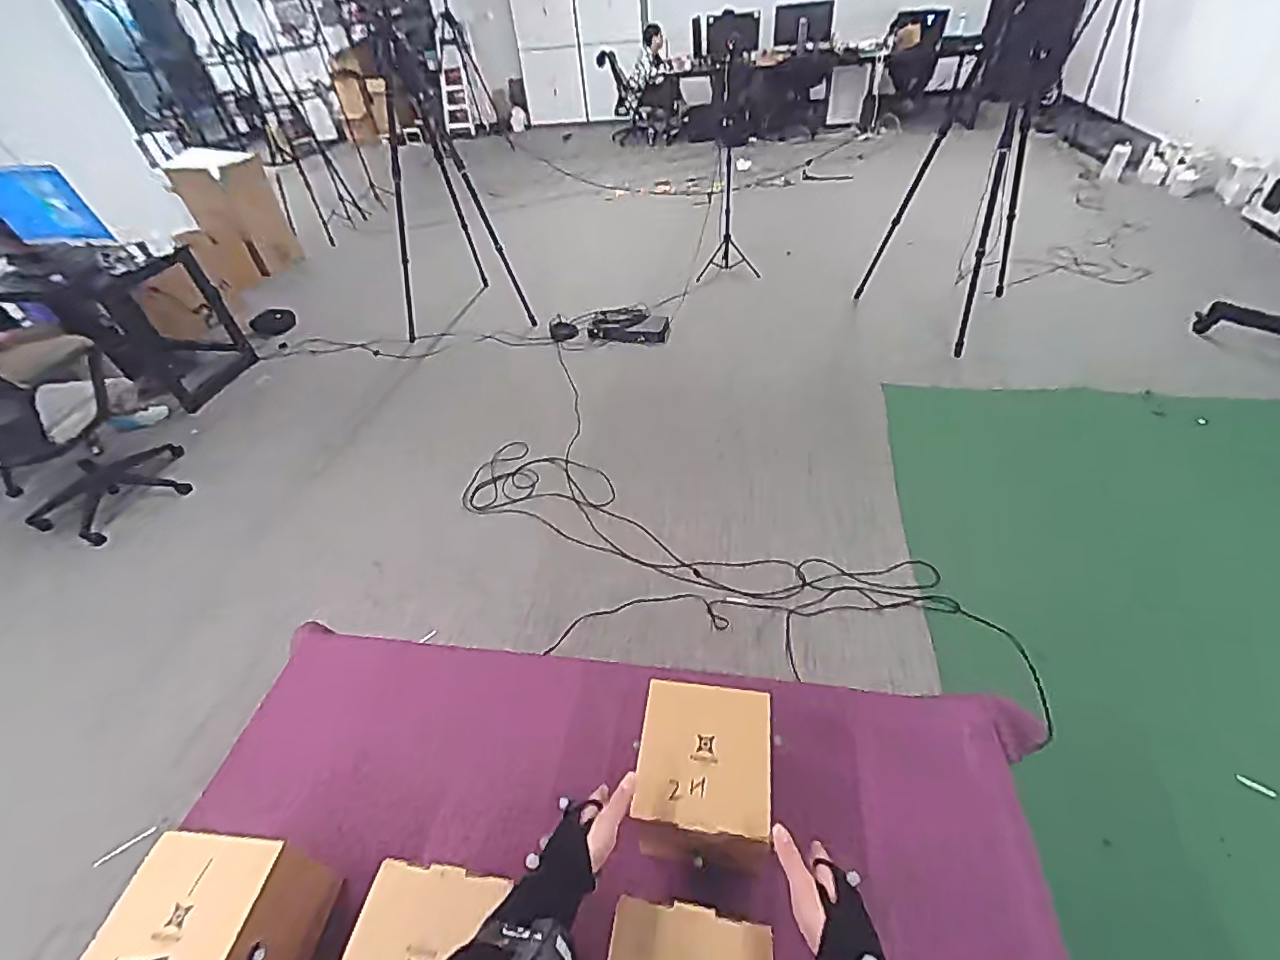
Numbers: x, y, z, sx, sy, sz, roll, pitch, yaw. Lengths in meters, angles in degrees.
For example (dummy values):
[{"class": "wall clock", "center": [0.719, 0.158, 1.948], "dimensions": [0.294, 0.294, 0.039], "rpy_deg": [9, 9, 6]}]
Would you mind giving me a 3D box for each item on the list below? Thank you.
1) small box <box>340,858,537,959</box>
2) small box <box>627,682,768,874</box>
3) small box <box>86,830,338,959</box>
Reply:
[{"class": "small box", "center": [-0.229, 0.567, 0.616], "dimensions": [0.168, 0.176, 0.179], "rpy_deg": [2, 44, 11]}, {"class": "small box", "center": [0.085, 0.406, 0.741], "dimensions": [0.168, 0.176, 0.179], "rpy_deg": [2, 45, 12]}, {"class": "small box", "center": [-0.512, 0.560, 0.660], "dimensions": [0.168, 0.176, 0.179], "rpy_deg": [0, 41, 8]}]
